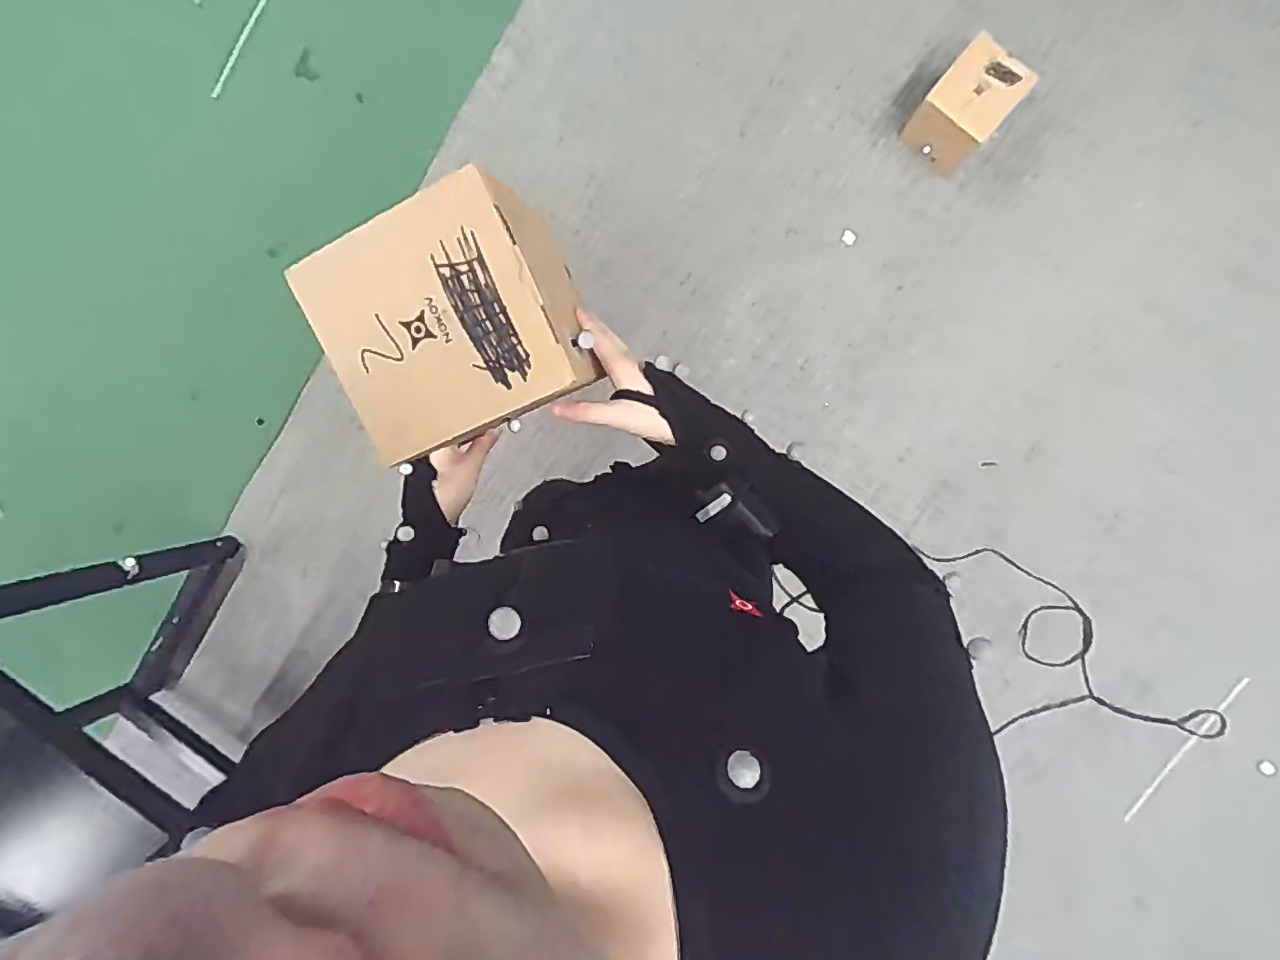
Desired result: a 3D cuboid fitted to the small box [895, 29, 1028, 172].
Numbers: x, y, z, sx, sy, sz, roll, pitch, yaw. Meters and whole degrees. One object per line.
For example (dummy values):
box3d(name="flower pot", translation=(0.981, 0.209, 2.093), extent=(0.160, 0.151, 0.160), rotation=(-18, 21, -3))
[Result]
box3d(name="small box", translation=(0.735, -0.872, 1.261), extent=(0.168, 0.176, 0.179), rotation=(41, 98, 1))
